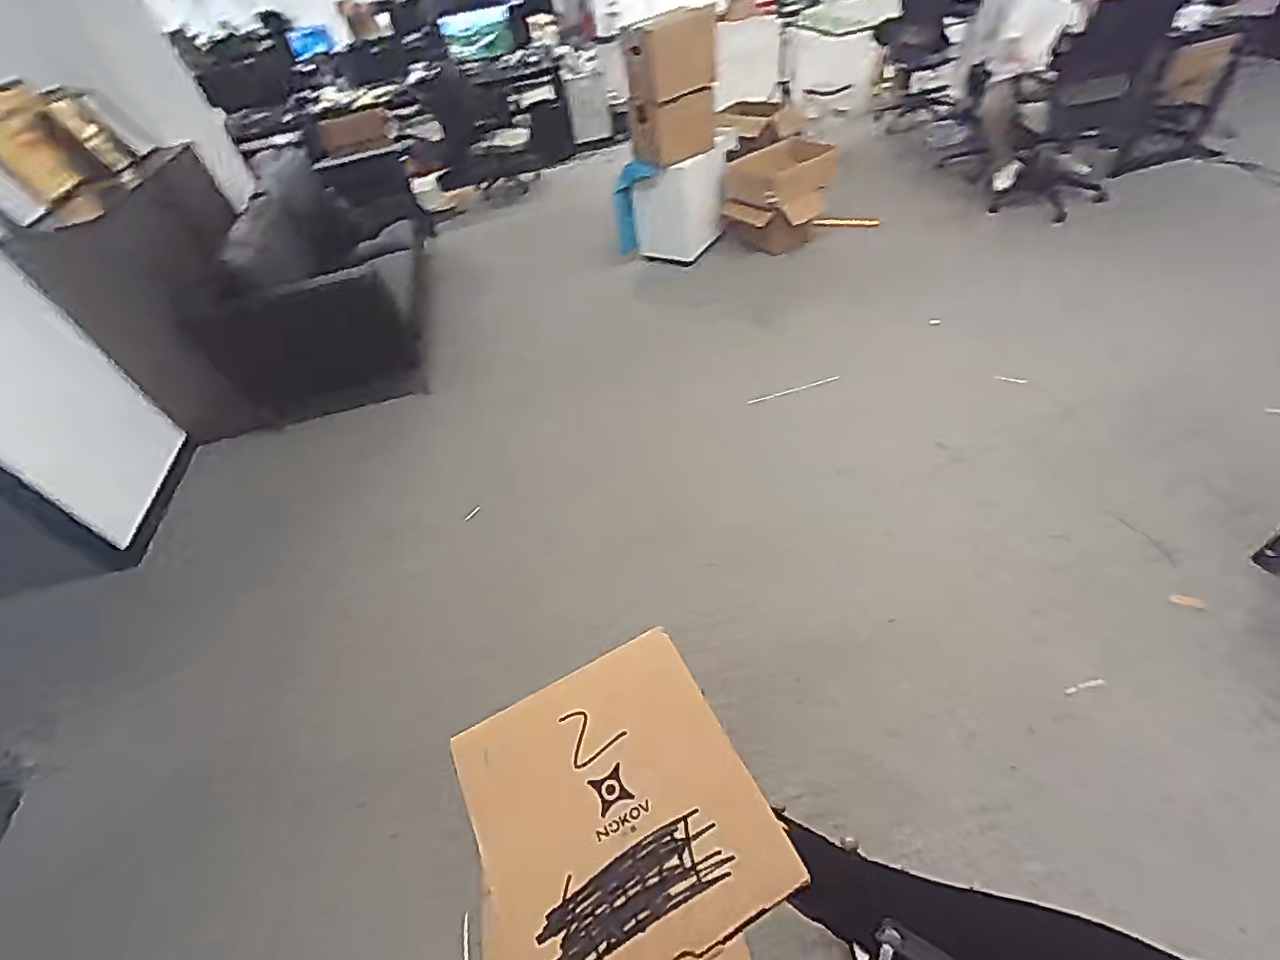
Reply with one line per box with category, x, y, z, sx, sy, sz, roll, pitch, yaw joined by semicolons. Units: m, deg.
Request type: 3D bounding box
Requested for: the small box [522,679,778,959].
small box;0.007;0.333;0.537;0.179;0.176;0.168;-26;56;-14
